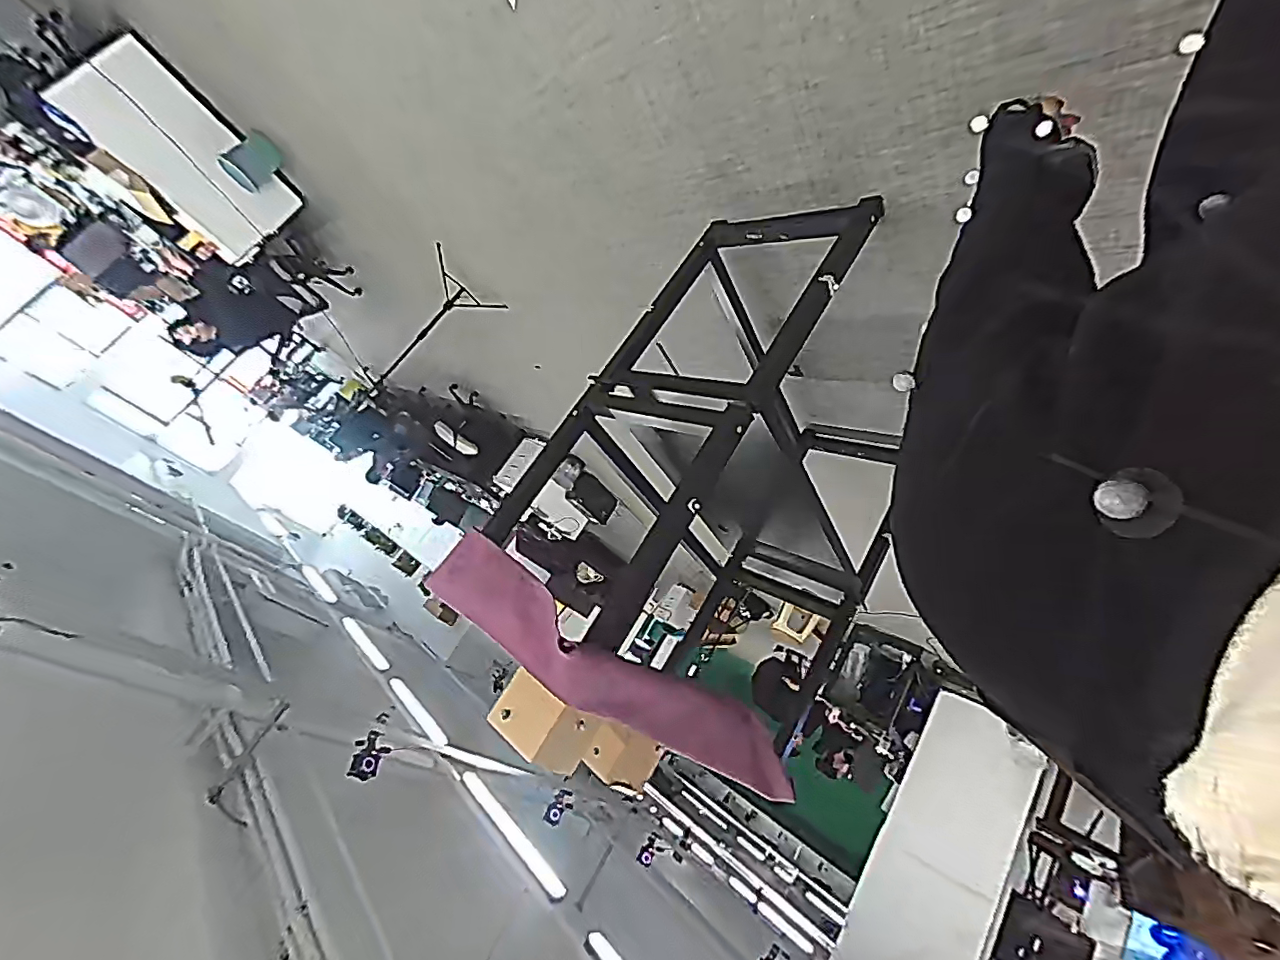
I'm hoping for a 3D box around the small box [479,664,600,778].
[{"bbox_3d":[-0.227,0.547,1.250,0.179,0.176,0.168,20,159,40],"label":"small box"}]

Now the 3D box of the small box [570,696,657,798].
[{"bbox_3d":[-0.075,0.727,1.484,0.179,0.176,0.168,16,156,48],"label":"small box"}]
